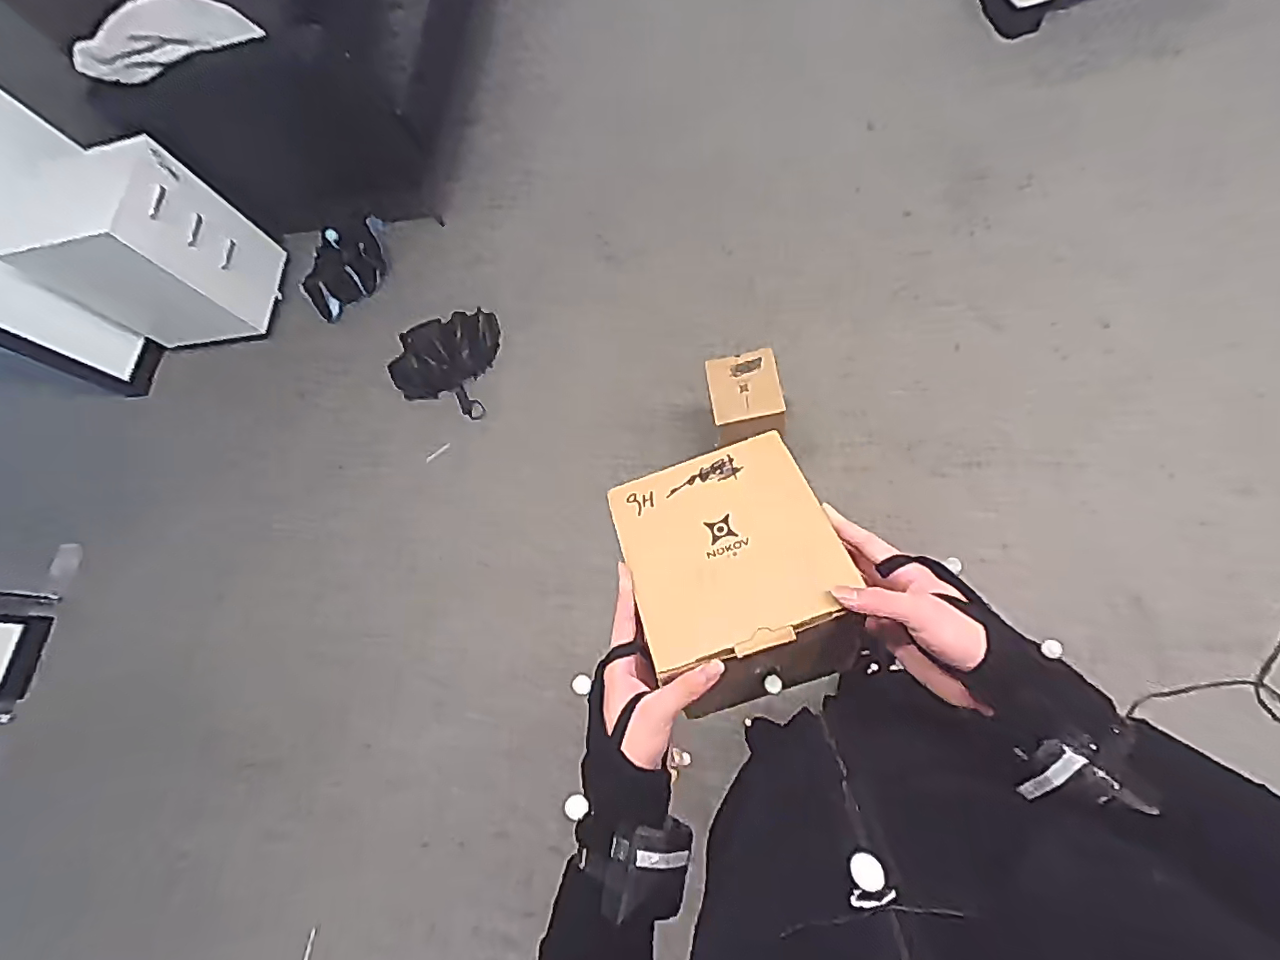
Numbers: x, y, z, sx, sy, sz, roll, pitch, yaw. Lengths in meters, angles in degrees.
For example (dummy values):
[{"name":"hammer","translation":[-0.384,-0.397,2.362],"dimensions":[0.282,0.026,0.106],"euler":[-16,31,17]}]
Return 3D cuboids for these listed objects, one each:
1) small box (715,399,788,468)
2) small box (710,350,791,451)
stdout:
[{"name":"small box","translation":[0.311,-0.143,1.497],"dimensions":[0.168,0.176,0.179],"euler":[-12,68,11]},{"name":"small box","translation":[0.275,-0.192,1.344],"dimensions":[0.168,0.176,0.179],"euler":[-11,71,12]}]
